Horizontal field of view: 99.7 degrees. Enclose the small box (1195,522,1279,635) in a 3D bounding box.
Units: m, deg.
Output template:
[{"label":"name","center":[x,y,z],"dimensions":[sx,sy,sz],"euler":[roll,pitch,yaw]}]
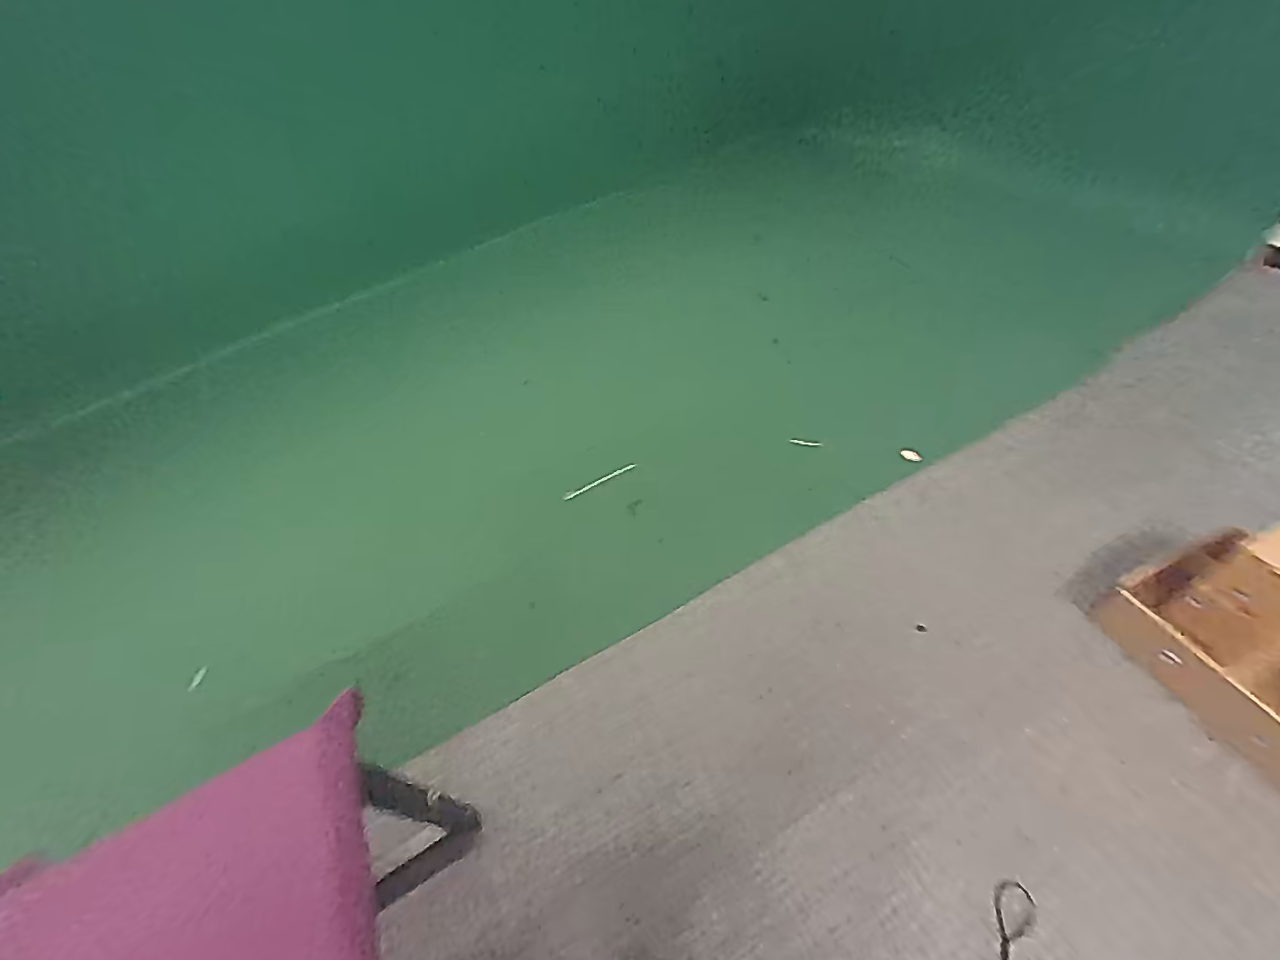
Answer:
[{"label":"small box","center":[1.439,0.218,1.223],"dimensions":[0.179,0.176,0.168],"euler":[-23,50,-8]}]
